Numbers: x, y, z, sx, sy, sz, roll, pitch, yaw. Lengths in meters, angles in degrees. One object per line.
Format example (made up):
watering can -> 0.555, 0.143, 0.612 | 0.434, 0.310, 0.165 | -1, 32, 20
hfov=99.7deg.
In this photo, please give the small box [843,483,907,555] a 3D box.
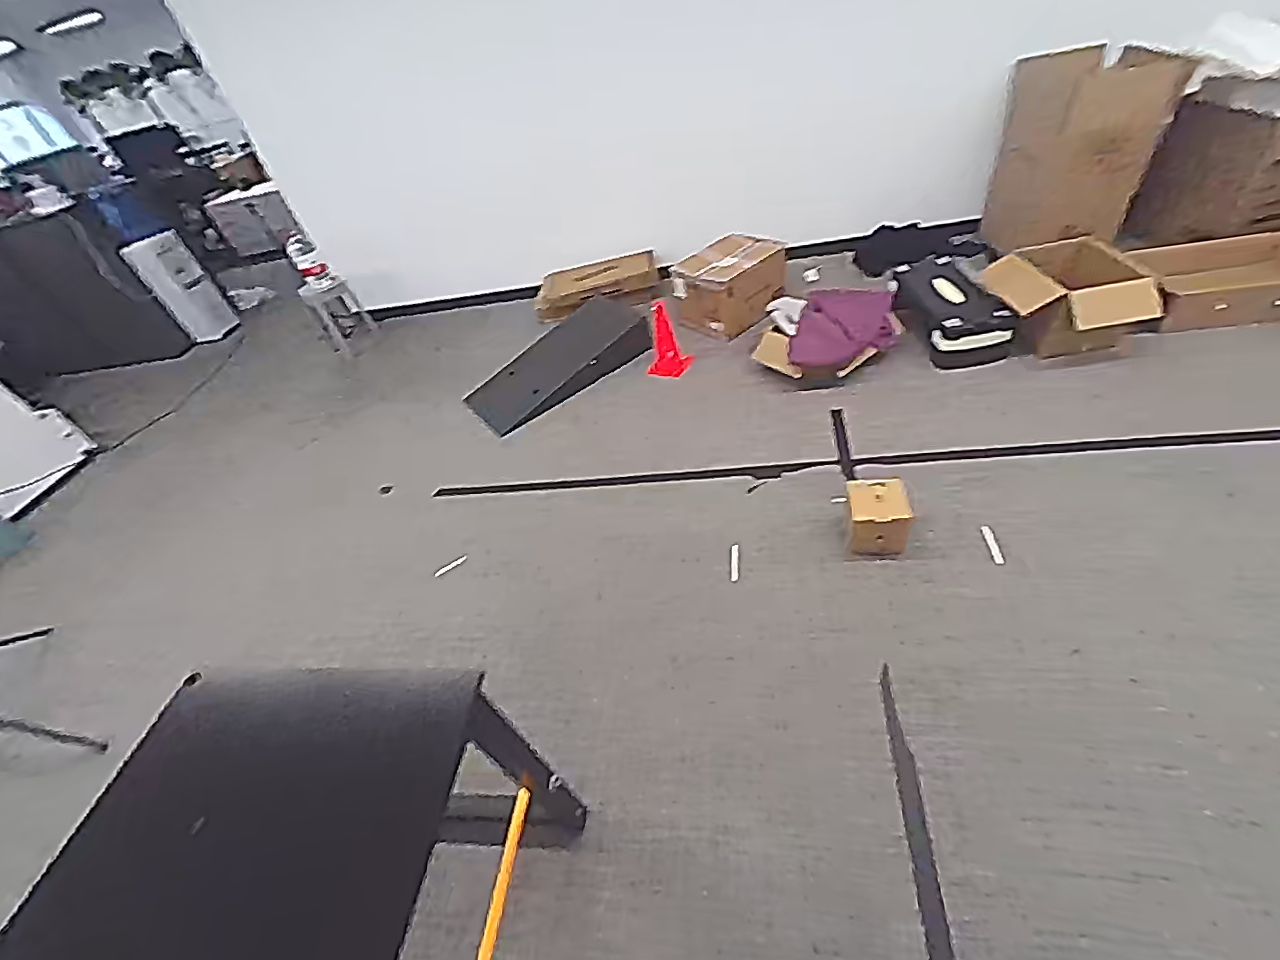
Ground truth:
small box -> 0.760, 0.130, 1.761 | 0.168, 0.176, 0.179 | -2, 45, 14
